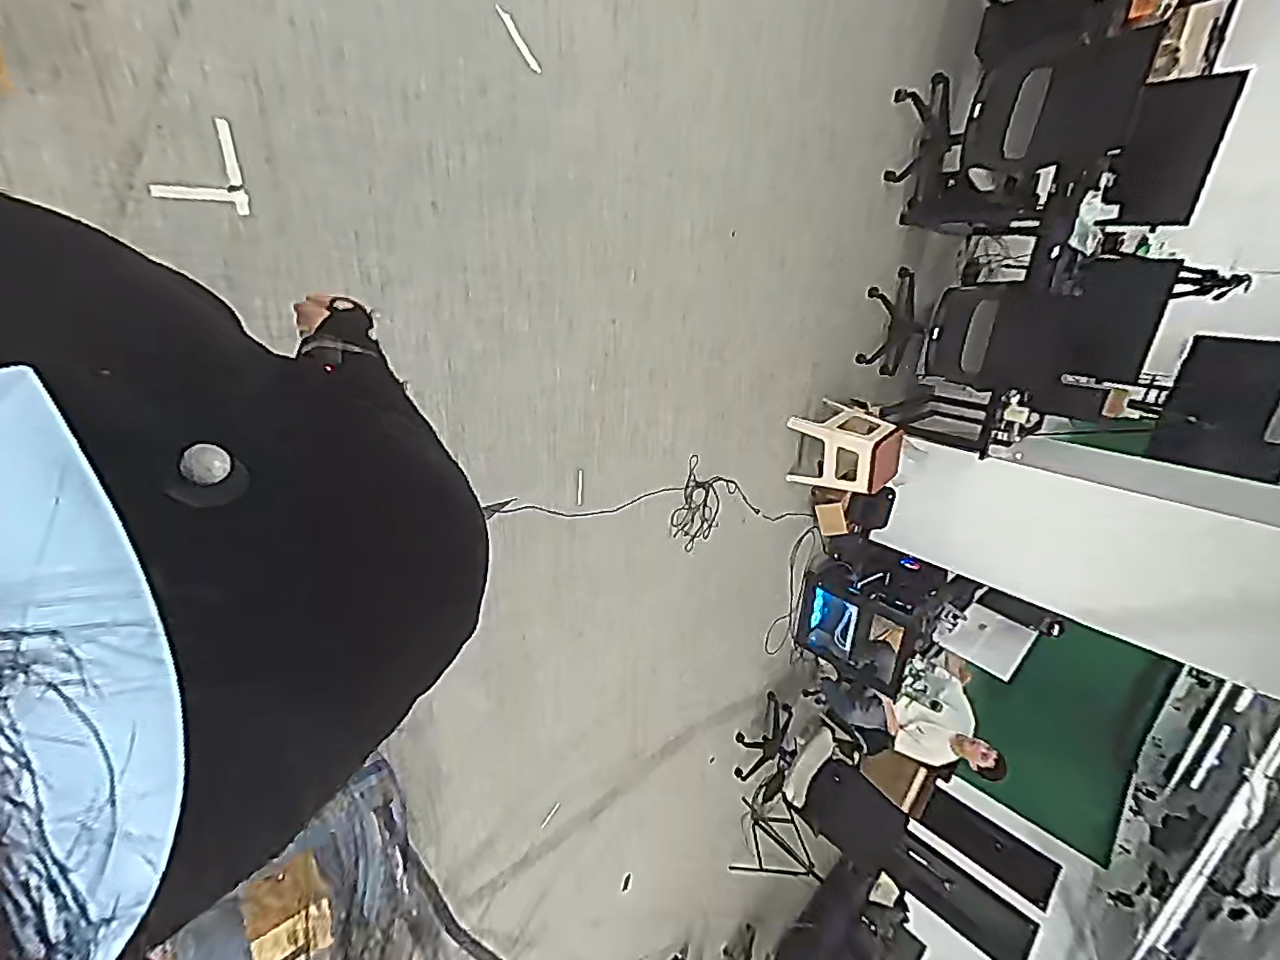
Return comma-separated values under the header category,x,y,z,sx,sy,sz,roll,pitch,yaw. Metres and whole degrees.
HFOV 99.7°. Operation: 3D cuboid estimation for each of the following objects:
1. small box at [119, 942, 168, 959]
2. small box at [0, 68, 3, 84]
category,x,y,z,sx,sy,sz,roll,pitch,yaw
small box,-1.147,1.200,1.202,0.168,0.176,0.179,-14,117,-43
small box,-1.052,-0.688,0.758,0.168,0.176,0.179,-19,120,-40
